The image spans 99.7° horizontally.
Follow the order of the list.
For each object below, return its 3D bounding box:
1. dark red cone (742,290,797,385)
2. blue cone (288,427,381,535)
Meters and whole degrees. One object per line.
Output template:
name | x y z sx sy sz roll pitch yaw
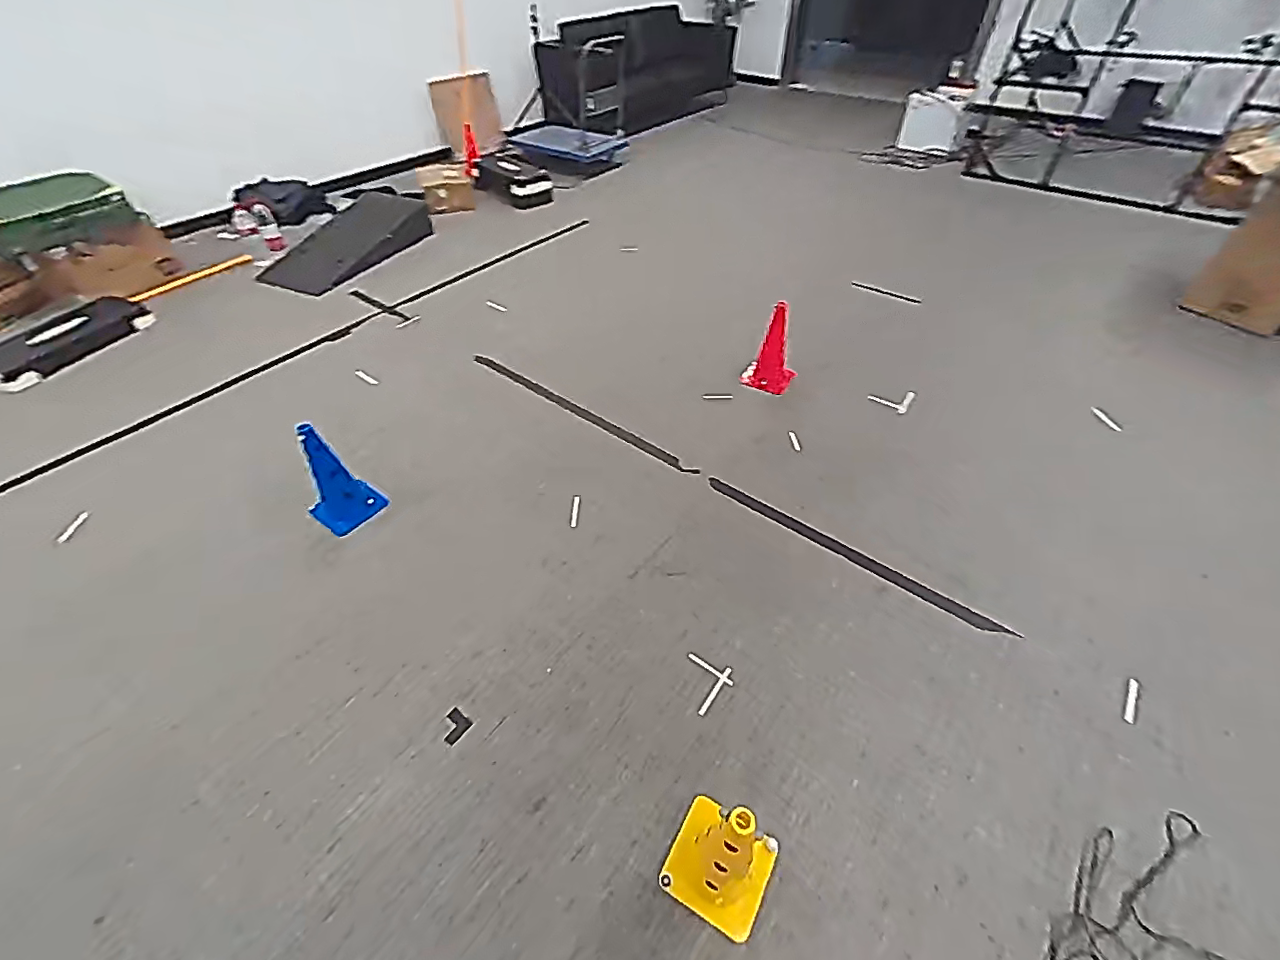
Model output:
dark red cone | 0.571 -0.603 2.254 0.202 0.394 0.201 22 50 21
blue cone | -1.003 -0.022 1.720 0.193 0.380 0.192 29 53 26
